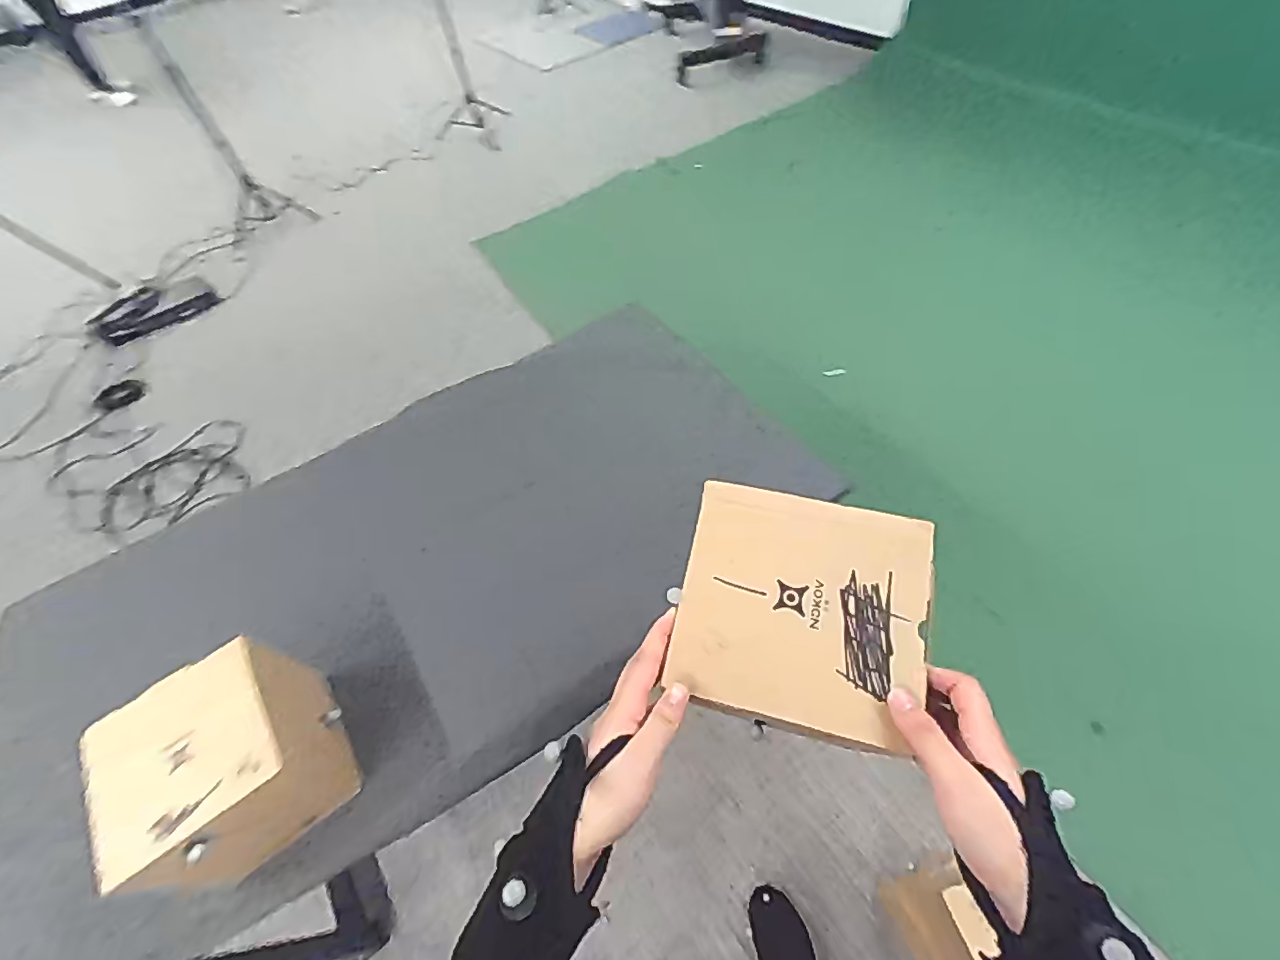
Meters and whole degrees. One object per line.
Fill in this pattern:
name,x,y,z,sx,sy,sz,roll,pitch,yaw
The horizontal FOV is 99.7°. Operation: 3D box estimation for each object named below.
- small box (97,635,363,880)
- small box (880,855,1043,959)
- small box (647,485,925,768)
small box,-0.457,0.318,0.620,0.168,0.176,0.179,-33,58,-16
small box,0.593,0.842,1.022,0.168,0.176,0.179,-25,56,-10
small box,0.114,0.125,0.459,0.179,0.176,0.168,11,68,10
